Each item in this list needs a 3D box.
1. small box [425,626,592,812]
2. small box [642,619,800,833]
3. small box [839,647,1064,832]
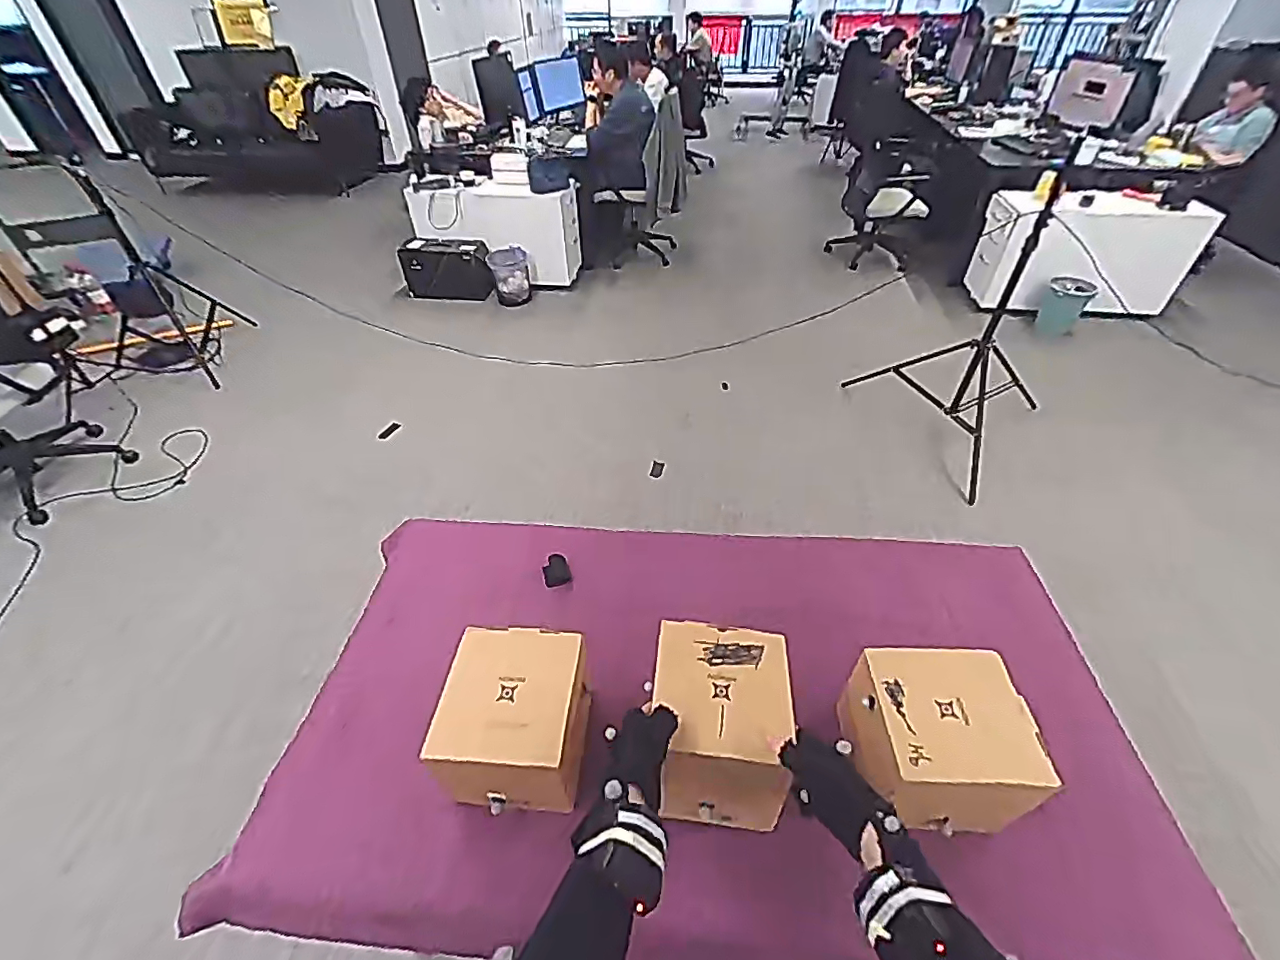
[{"bbox_3d":[-0.161,0.322,0.732,0.168,0.176,0.179,1,43,4],"label":"small box"},{"bbox_3d":[0.096,0.309,0.691,0.168,0.176,0.179,7,35,5],"label":"small box"},{"bbox_3d":[0.381,0.337,0.702,0.179,0.176,0.168,1,42,3],"label":"small box"}]
